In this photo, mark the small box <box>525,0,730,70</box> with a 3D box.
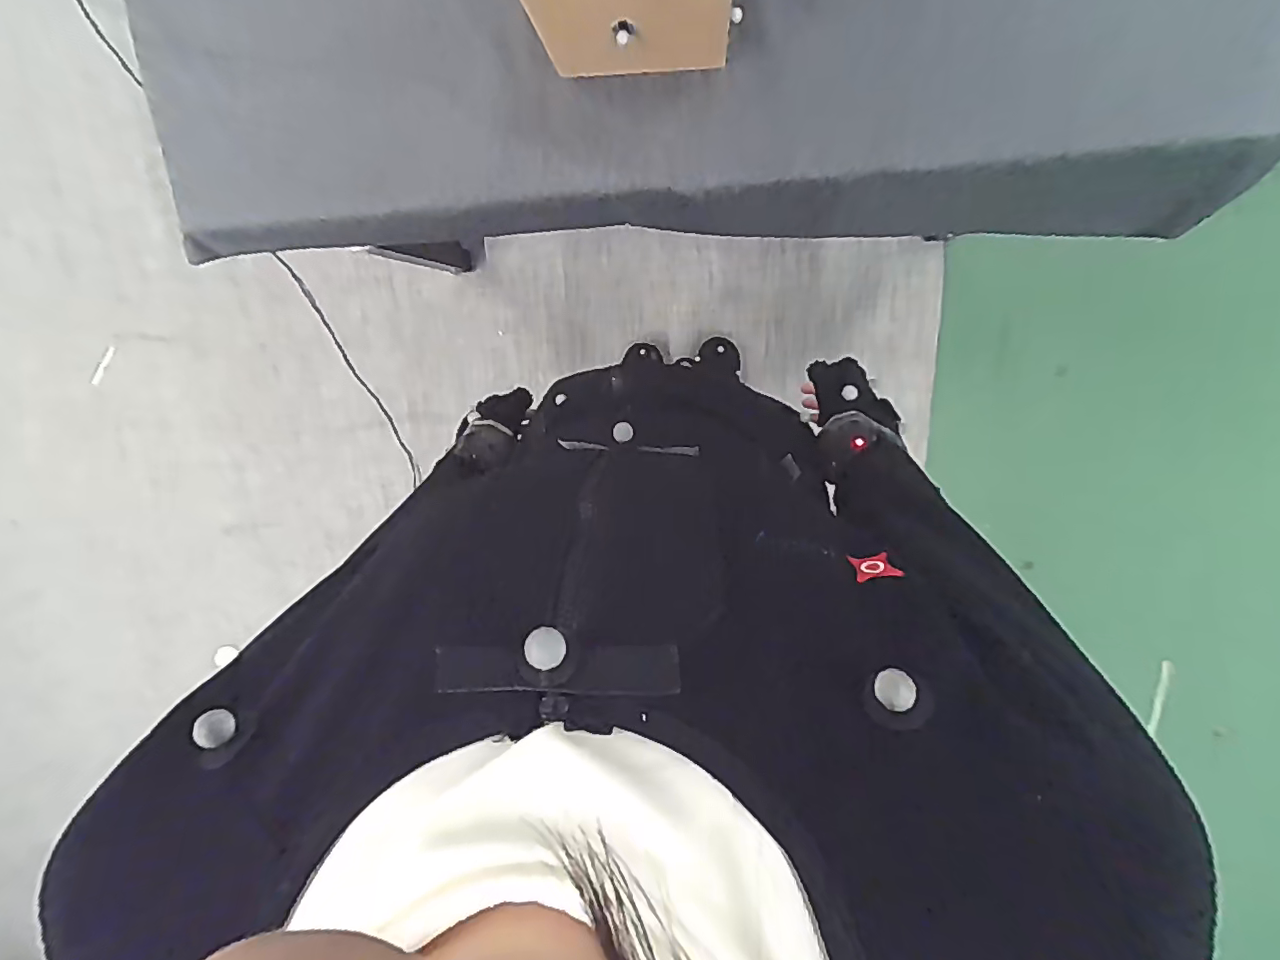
[{"bbox_3d":[-0.006,-0.490,0.469,0.179,0.176,0.168,1,105,7],"label":"small box"}]
